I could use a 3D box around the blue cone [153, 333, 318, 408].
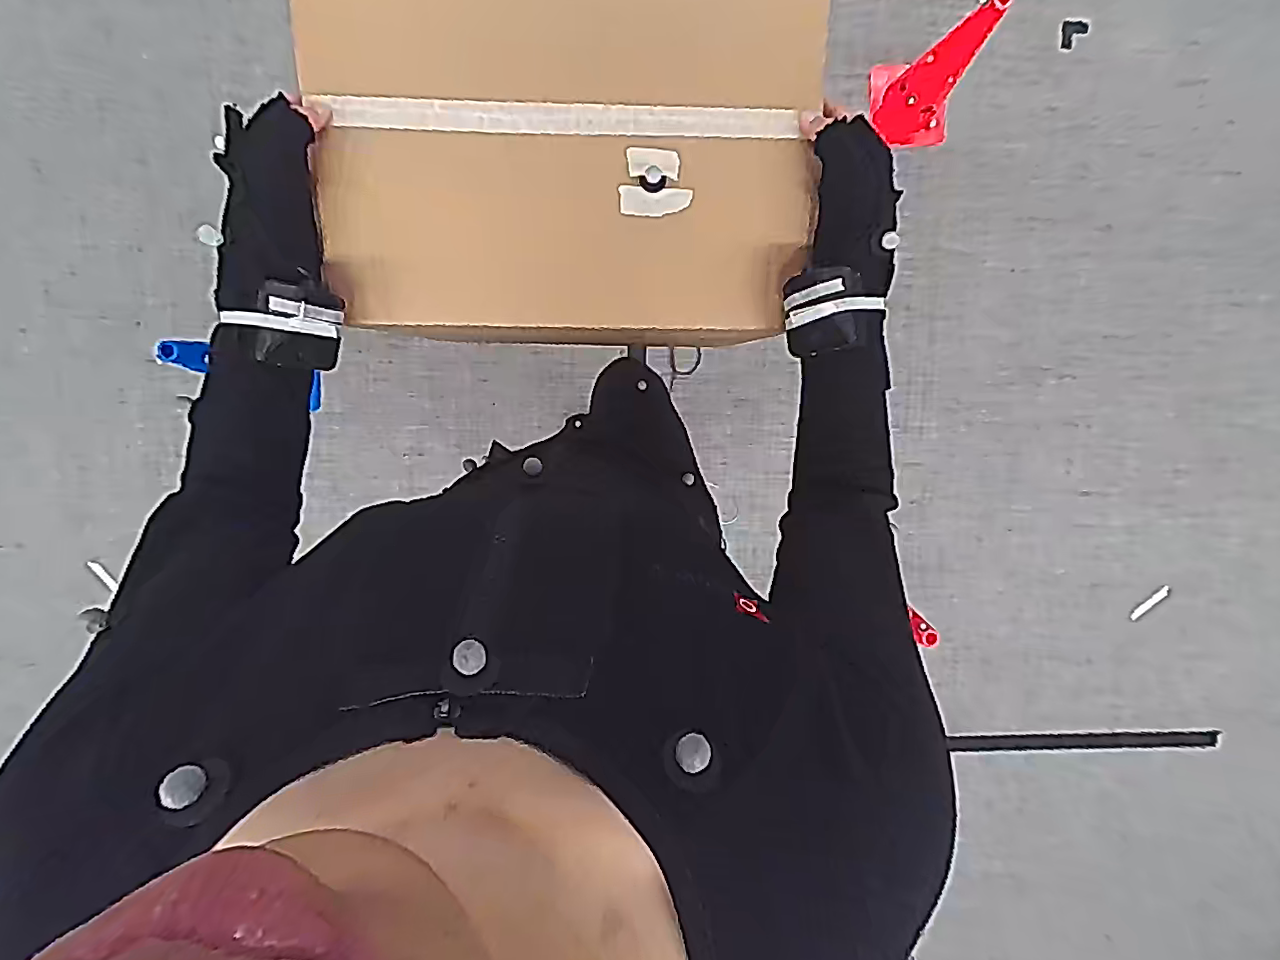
[{"bbox_3d":[-0.935,-0.270,1.249,0.192,0.380,0.193,4,95,-1],"label":"blue cone"}]

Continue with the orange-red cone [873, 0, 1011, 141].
[{"bbox_3d":[0.710,-0.974,1.231,0.198,0.360,0.199,-2,94,-3],"label":"orange-red cone"}]

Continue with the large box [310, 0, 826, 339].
[{"bbox_3d":[-0.061,-0.321,0.577,0.408,0.320,0.320,0,102,-4],"label":"large box"}]
